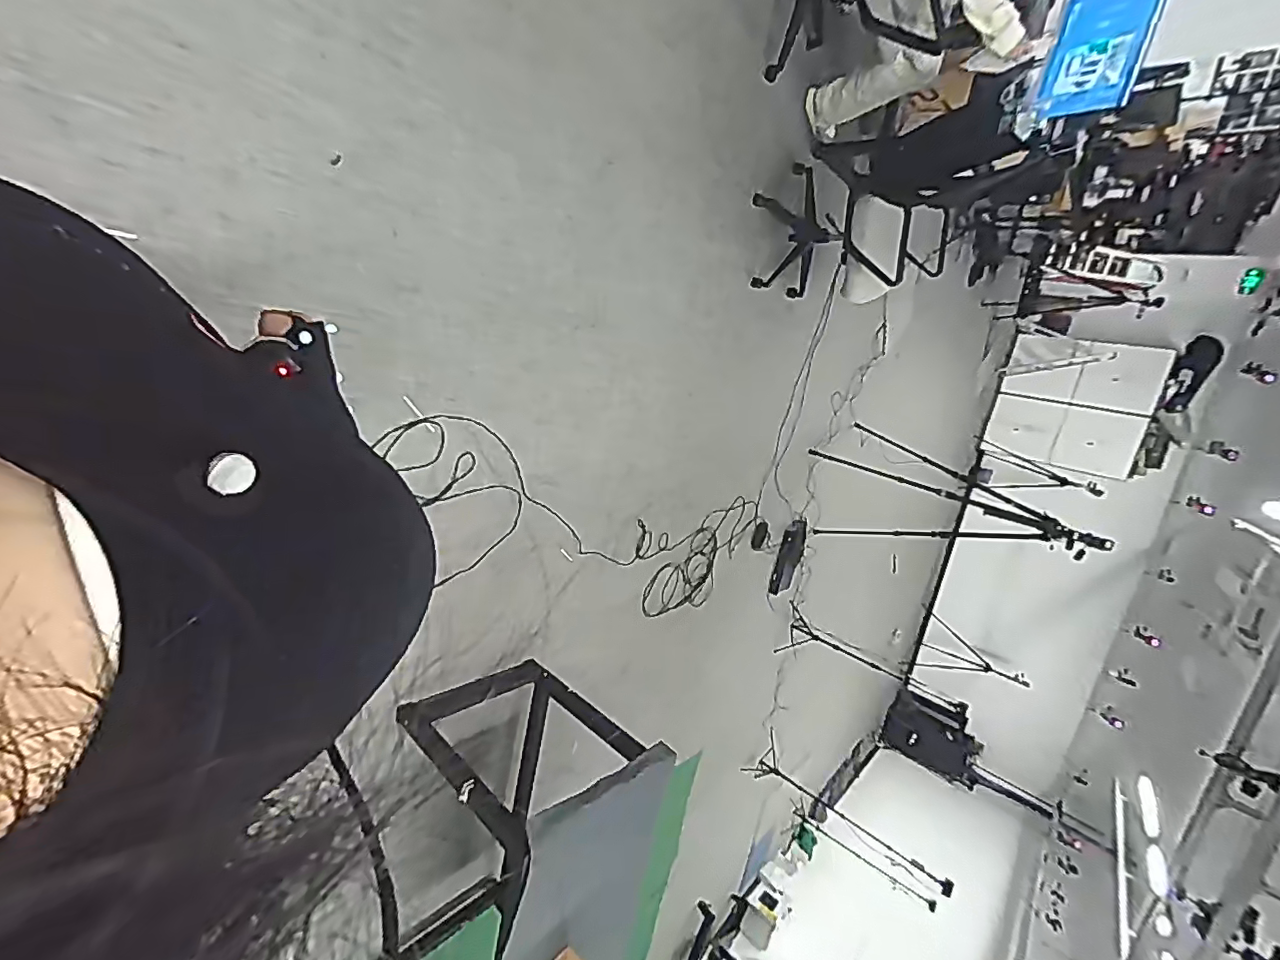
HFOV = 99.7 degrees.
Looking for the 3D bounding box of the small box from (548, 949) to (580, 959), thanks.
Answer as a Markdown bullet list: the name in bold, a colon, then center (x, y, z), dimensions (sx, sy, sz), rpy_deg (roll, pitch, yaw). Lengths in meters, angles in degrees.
- **small box**: center (-0.233, 1.518, 1.560), dimensions (0.168, 0.176, 0.179), rpy_deg (1, 105, -52)
